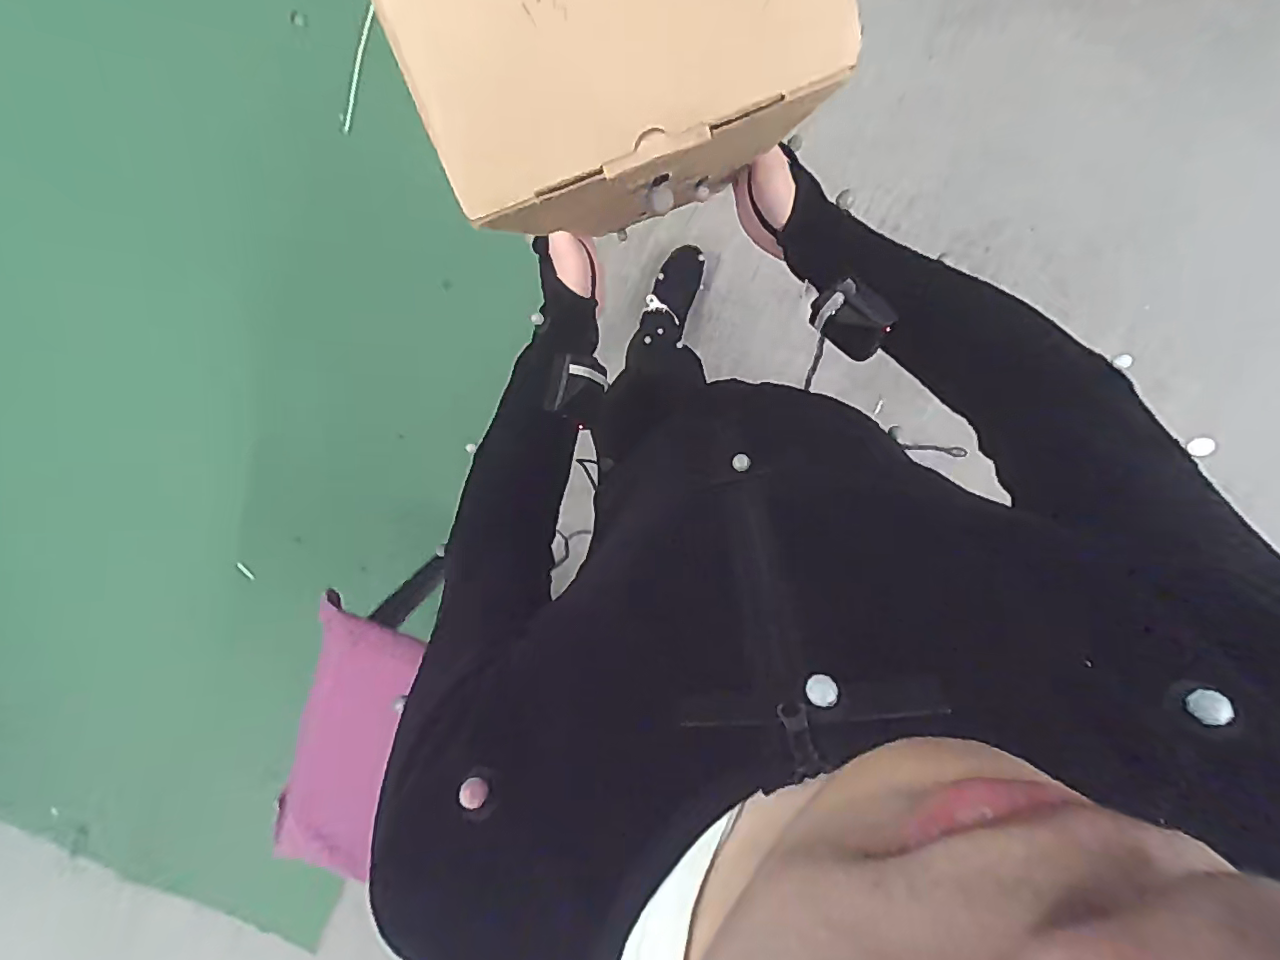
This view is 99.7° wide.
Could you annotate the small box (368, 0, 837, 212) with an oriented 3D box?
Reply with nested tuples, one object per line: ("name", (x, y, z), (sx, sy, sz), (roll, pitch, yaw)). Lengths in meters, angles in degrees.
("small box", (-0.025, -0.244, 0.255), (0.168, 0.176, 0.179), (-16, 112, 9))

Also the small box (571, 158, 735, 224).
("small box", (-0.008, -0.378, 0.553), (0.168, 0.176, 0.179), (-16, 110, 10))

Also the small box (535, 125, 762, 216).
("small box", (-0.016, -0.313, 0.404), (0.168, 0.176, 0.179), (-15, 111, 9))
